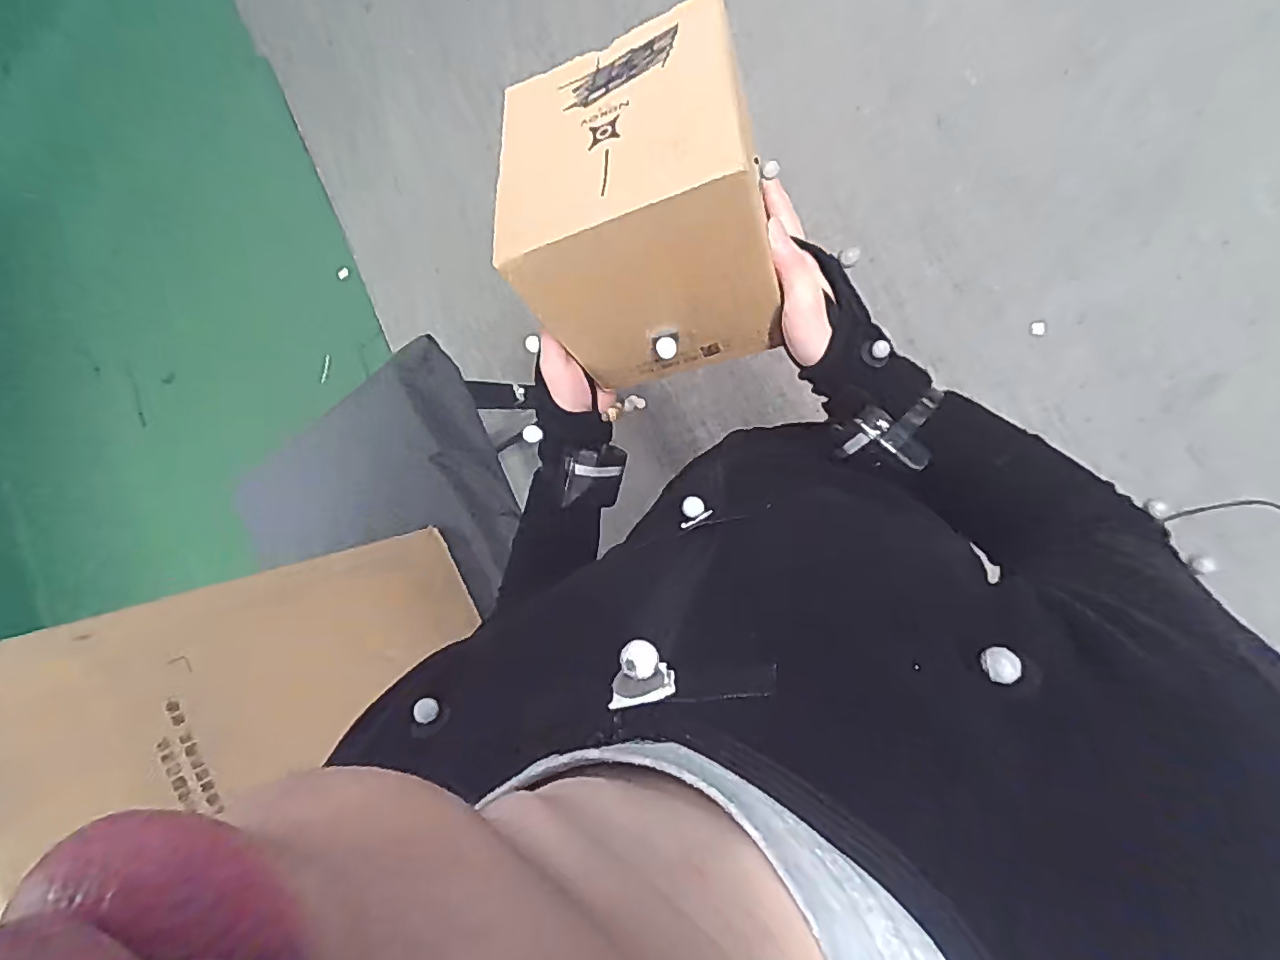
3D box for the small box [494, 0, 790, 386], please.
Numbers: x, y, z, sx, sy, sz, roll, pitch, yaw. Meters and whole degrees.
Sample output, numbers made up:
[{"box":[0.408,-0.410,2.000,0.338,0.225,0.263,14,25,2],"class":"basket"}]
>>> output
[{"box":[0.013,-0.200,0.414,0.168,0.176,0.179,-11,66,20],"class":"small box"}]
